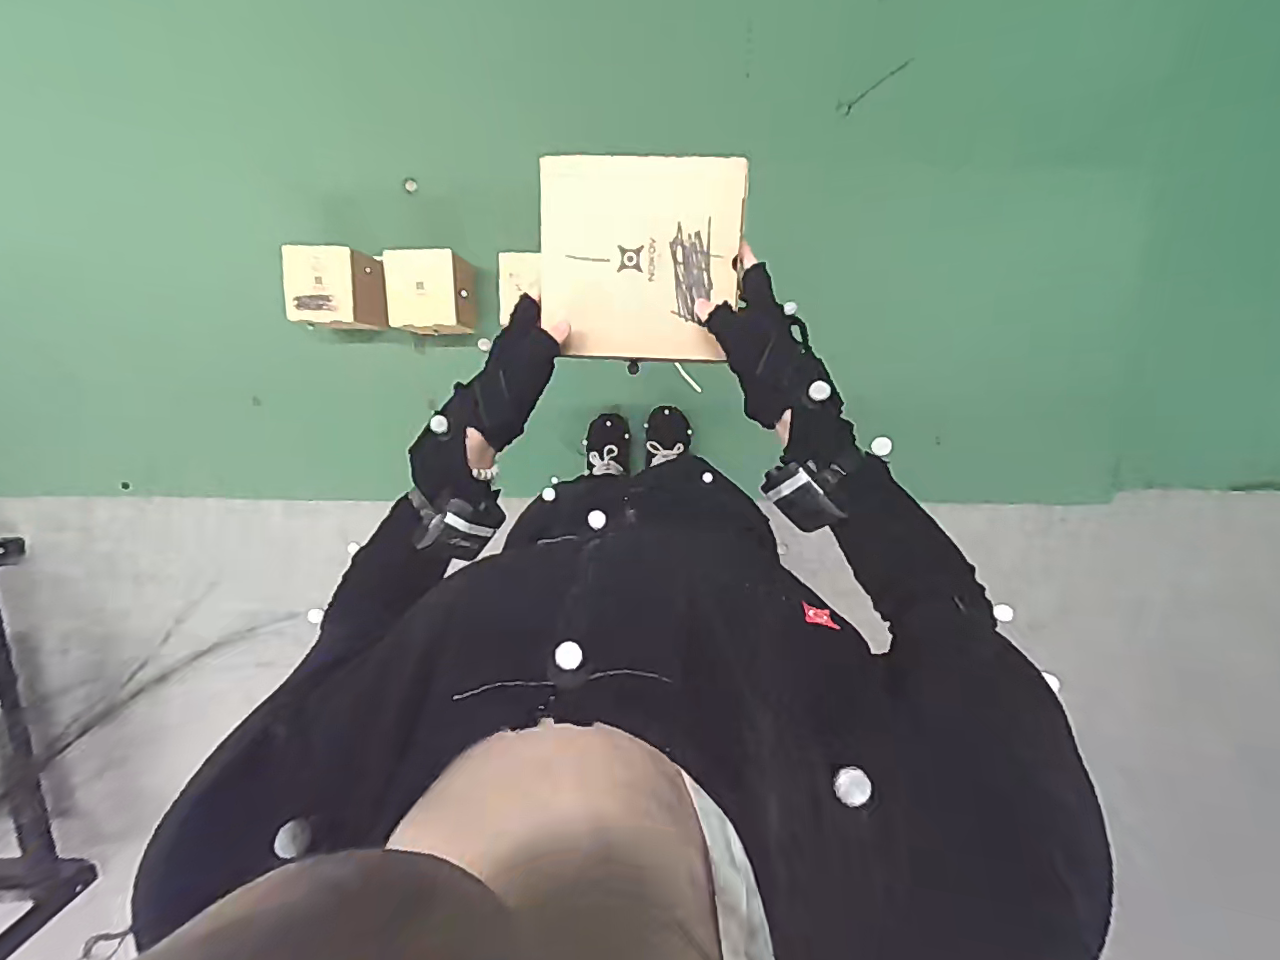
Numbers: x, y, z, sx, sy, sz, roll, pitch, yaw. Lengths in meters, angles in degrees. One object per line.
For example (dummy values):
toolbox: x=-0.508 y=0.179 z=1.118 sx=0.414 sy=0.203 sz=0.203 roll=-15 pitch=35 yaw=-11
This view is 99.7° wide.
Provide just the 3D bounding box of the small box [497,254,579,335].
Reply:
small box: x=-0.249 y=-0.458 z=1.350 sx=0.179 sy=0.176 sz=0.168 roll=2 pitch=99 yaw=1

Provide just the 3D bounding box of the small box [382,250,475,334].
small box: x=-0.524 y=-0.466 z=1.357 sx=0.168 sy=0.176 sz=0.179 roll=0 pitch=100 yaw=1
